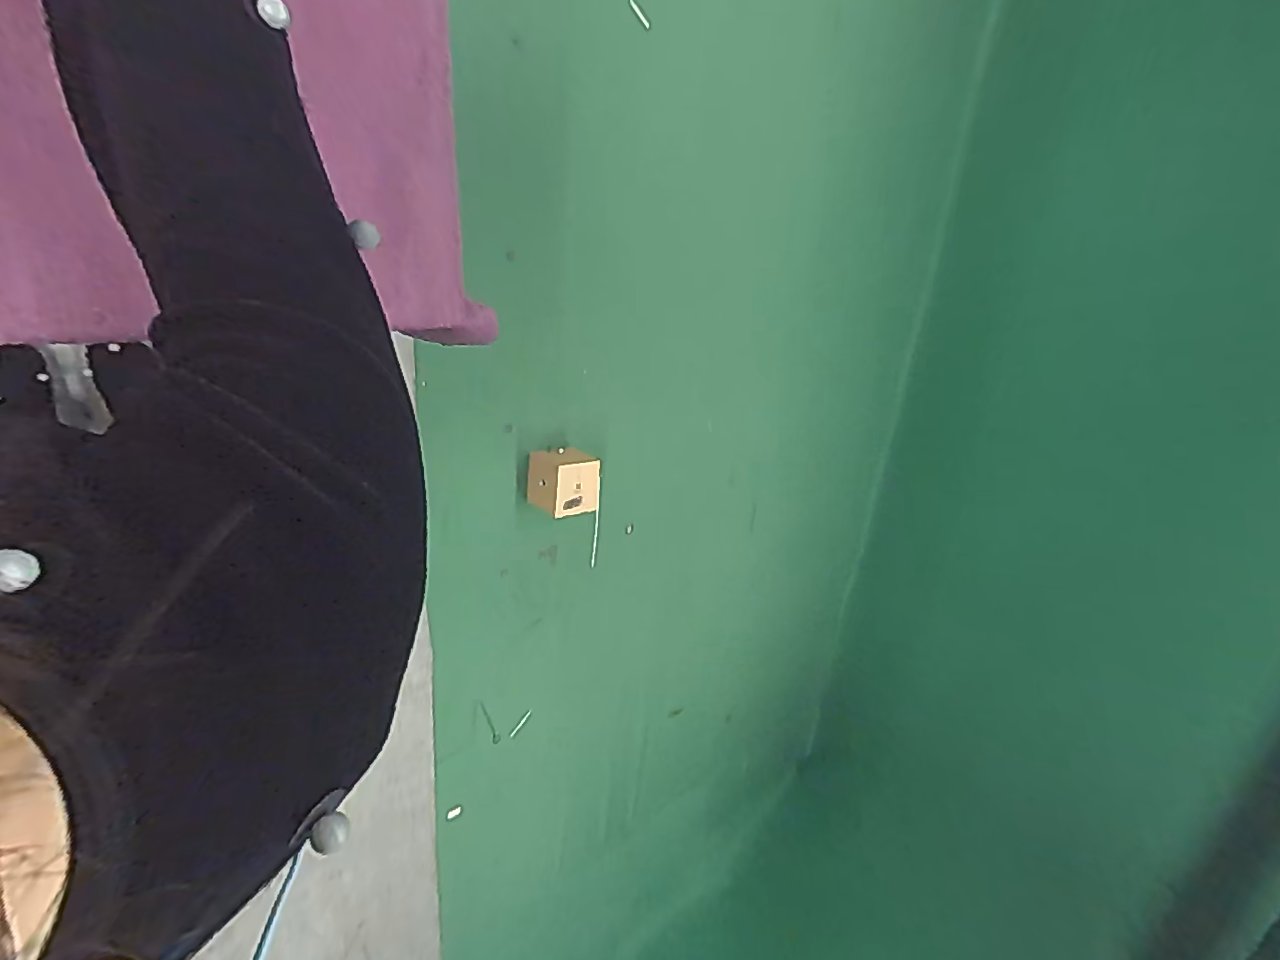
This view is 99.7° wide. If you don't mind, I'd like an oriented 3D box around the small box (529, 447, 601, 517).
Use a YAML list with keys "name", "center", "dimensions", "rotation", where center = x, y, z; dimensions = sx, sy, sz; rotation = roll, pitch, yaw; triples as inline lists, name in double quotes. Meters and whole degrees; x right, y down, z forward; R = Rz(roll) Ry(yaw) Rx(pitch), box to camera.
- name: "small box"
  center: [-0.250, 0.001, 1.768]
  dimensions: [0.168, 0.176, 0.179]
  rotation: [-9, 115, -42]
